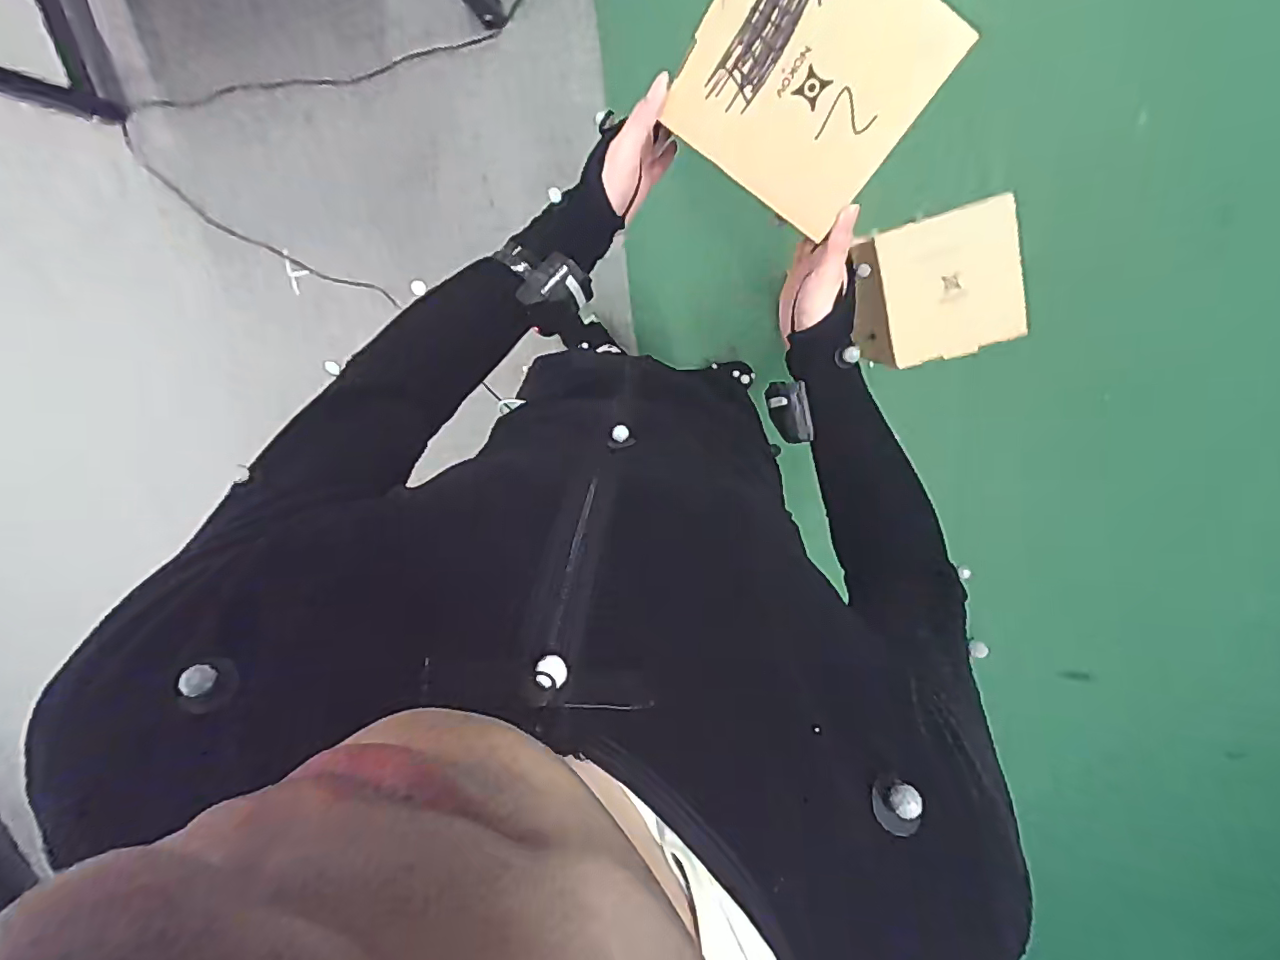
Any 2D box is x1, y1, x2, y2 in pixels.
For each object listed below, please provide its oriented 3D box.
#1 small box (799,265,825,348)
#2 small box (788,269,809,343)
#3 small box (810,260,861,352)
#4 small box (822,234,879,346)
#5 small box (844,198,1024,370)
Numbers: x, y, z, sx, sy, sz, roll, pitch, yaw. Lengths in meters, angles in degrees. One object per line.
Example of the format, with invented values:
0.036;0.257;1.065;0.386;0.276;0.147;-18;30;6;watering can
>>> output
0.462;-0.407;1.230;0.168;0.176;0.179;-7;107;9;small box
0.479;-0.458;1.382;0.168;0.176;0.179;-8;107;9;small box
0.441;-0.361;1.074;0.168;0.176;0.179;-9;107;10;small box
0.410;-0.323;0.918;0.179;0.176;0.168;-5;107;9;small box
0.403;-0.269;0.763;0.168;0.176;0.179;-14;105;10;small box
